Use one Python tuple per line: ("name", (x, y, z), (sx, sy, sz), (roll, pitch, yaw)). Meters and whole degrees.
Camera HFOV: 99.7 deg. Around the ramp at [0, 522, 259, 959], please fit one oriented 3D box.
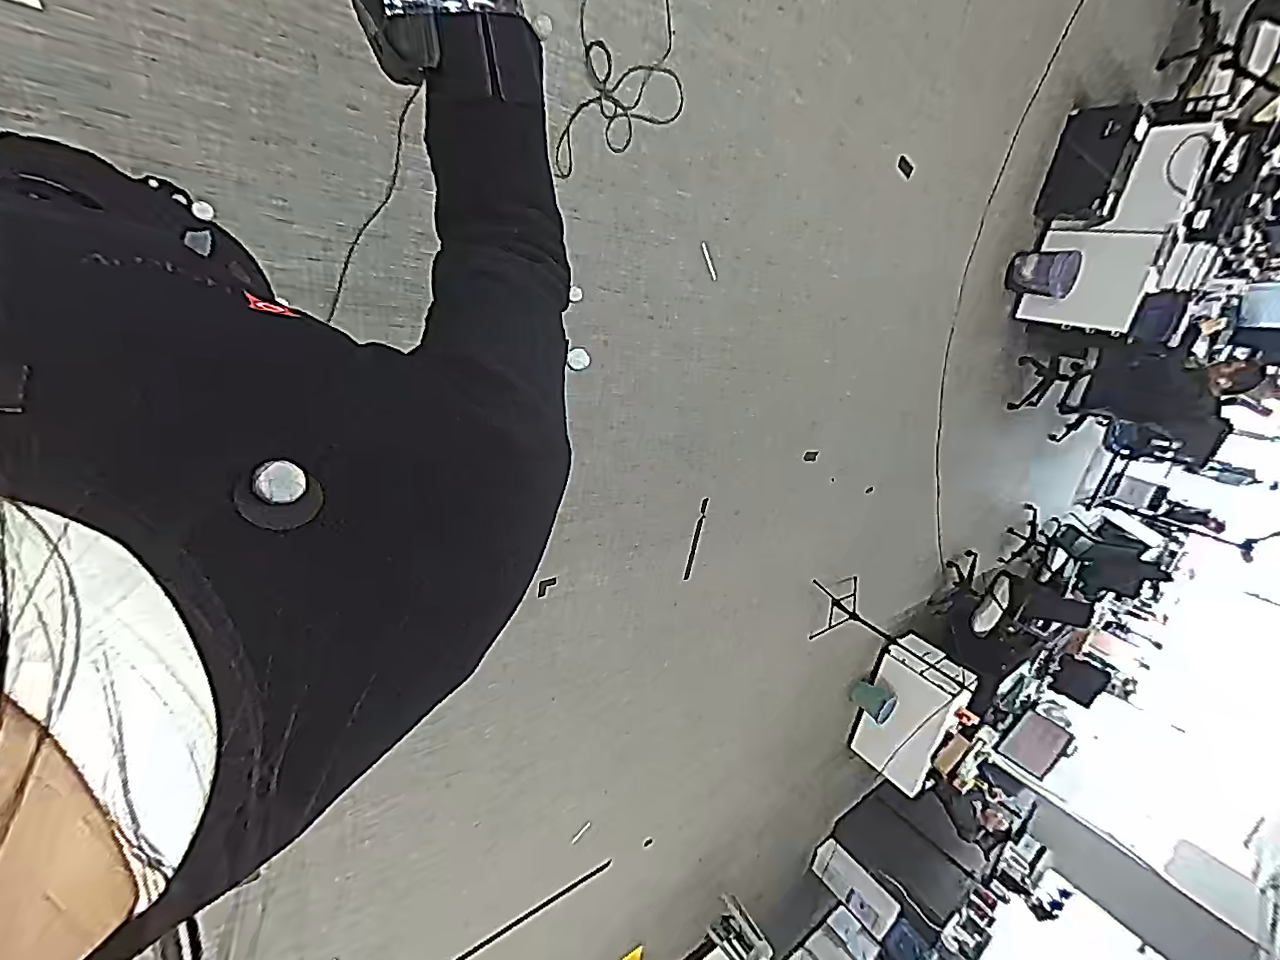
("ramp", (-1.189, 0.598, 1.230), (0.509, 0.206, 0.991), (-5, 114, -37))
